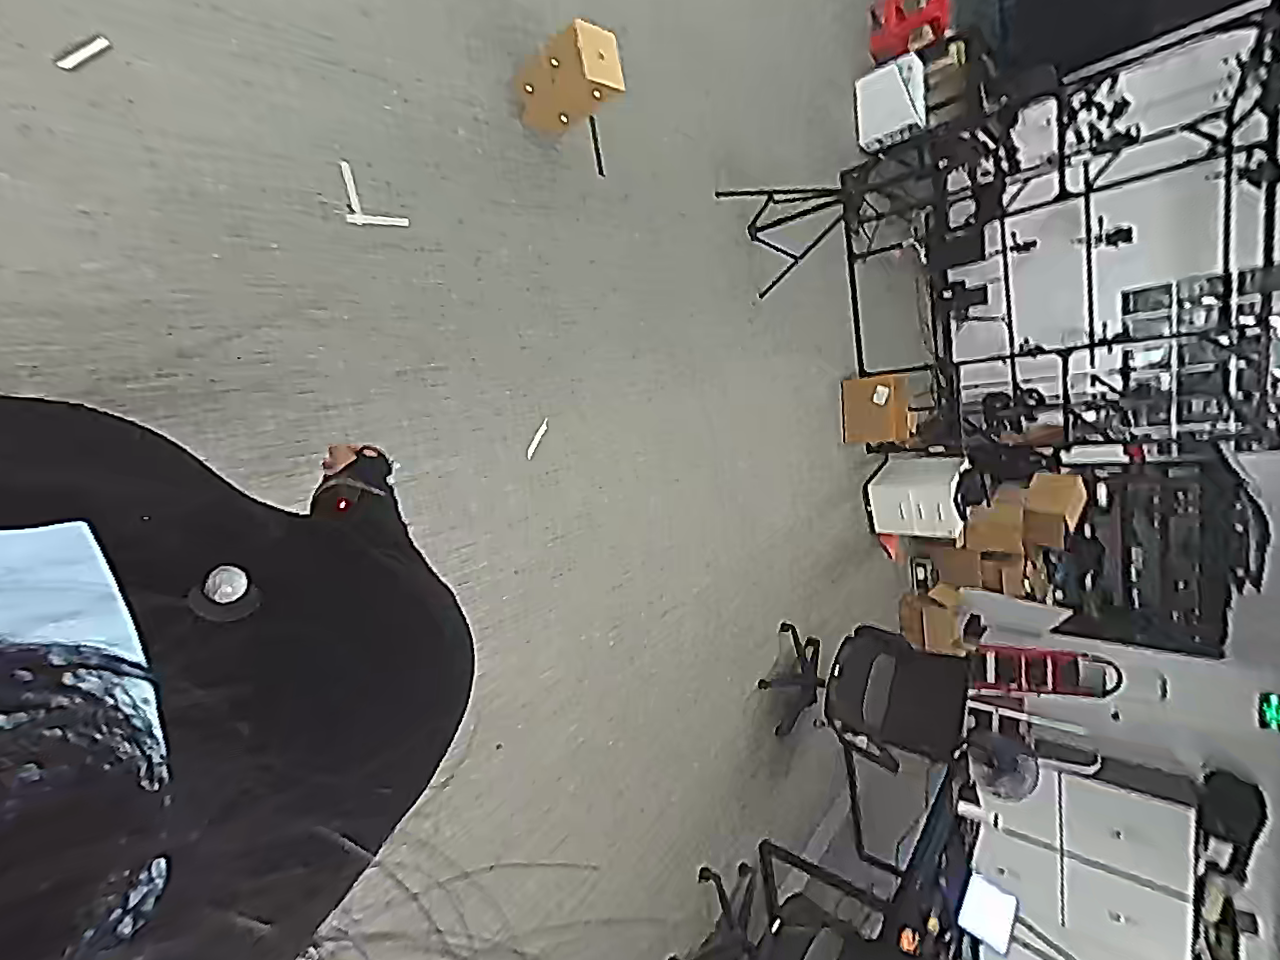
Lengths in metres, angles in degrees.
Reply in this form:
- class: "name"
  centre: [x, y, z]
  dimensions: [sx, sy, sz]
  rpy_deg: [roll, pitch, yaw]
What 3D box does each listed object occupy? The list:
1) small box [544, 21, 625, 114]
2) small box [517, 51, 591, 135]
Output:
- class: "small box"
  centre: [-0.178, -1.303, 1.725]
  dimensions: [0.179, 0.176, 0.168]
  rpy_deg: [-22, 106, -44]
- class: "small box"
  centre: [-0.298, -1.303, 1.835]
  dimensions: [0.179, 0.176, 0.168]
  rpy_deg: [-25, 108, -45]
